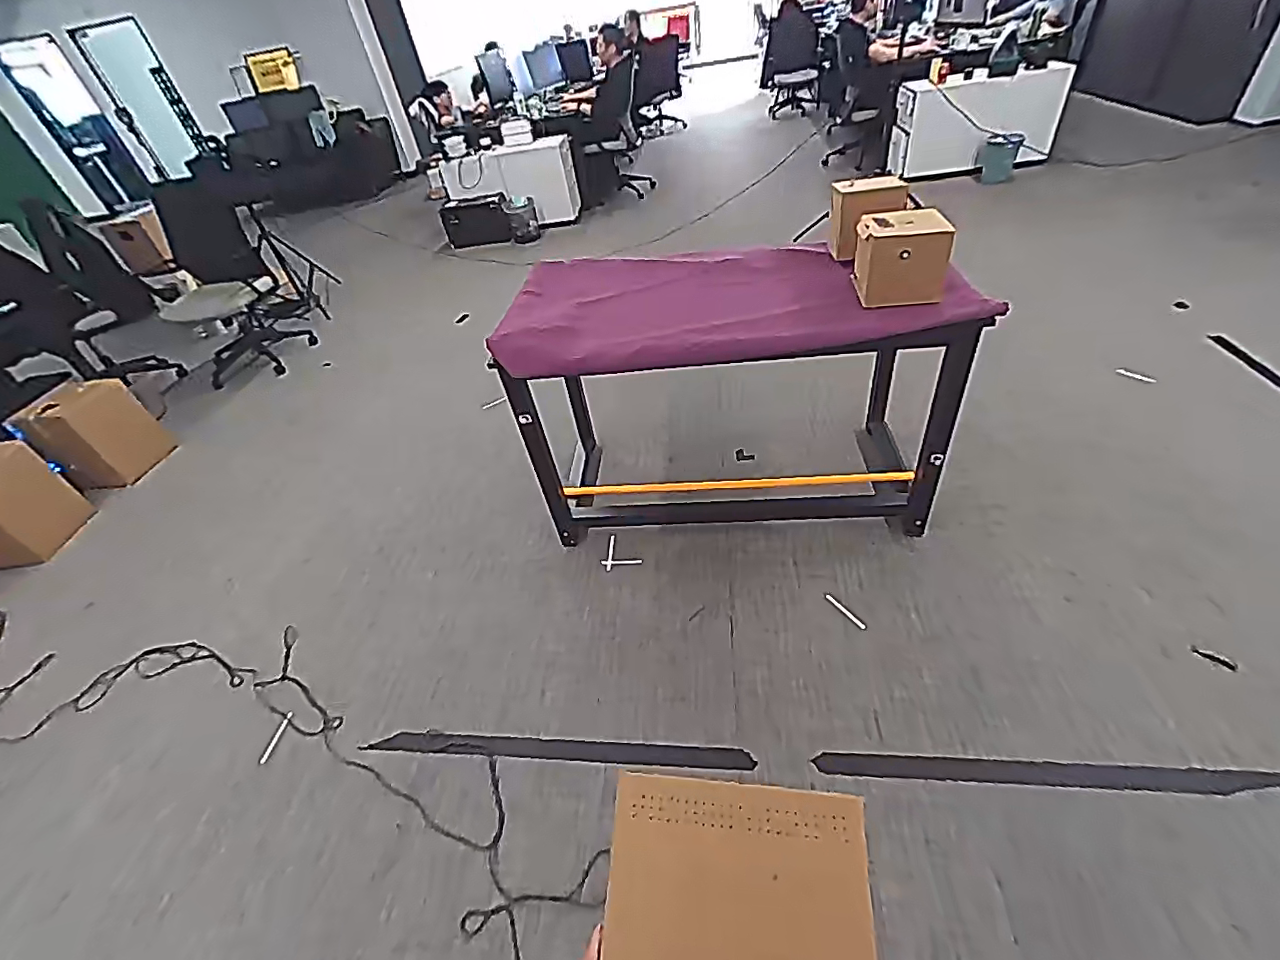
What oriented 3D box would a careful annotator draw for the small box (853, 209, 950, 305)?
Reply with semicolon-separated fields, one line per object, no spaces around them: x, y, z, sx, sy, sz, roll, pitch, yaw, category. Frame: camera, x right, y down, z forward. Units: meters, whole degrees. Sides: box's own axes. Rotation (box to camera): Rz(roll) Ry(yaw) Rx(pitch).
0.622;-0.538;1.314;0.179;0.176;0.168;-1;41;11;small box
